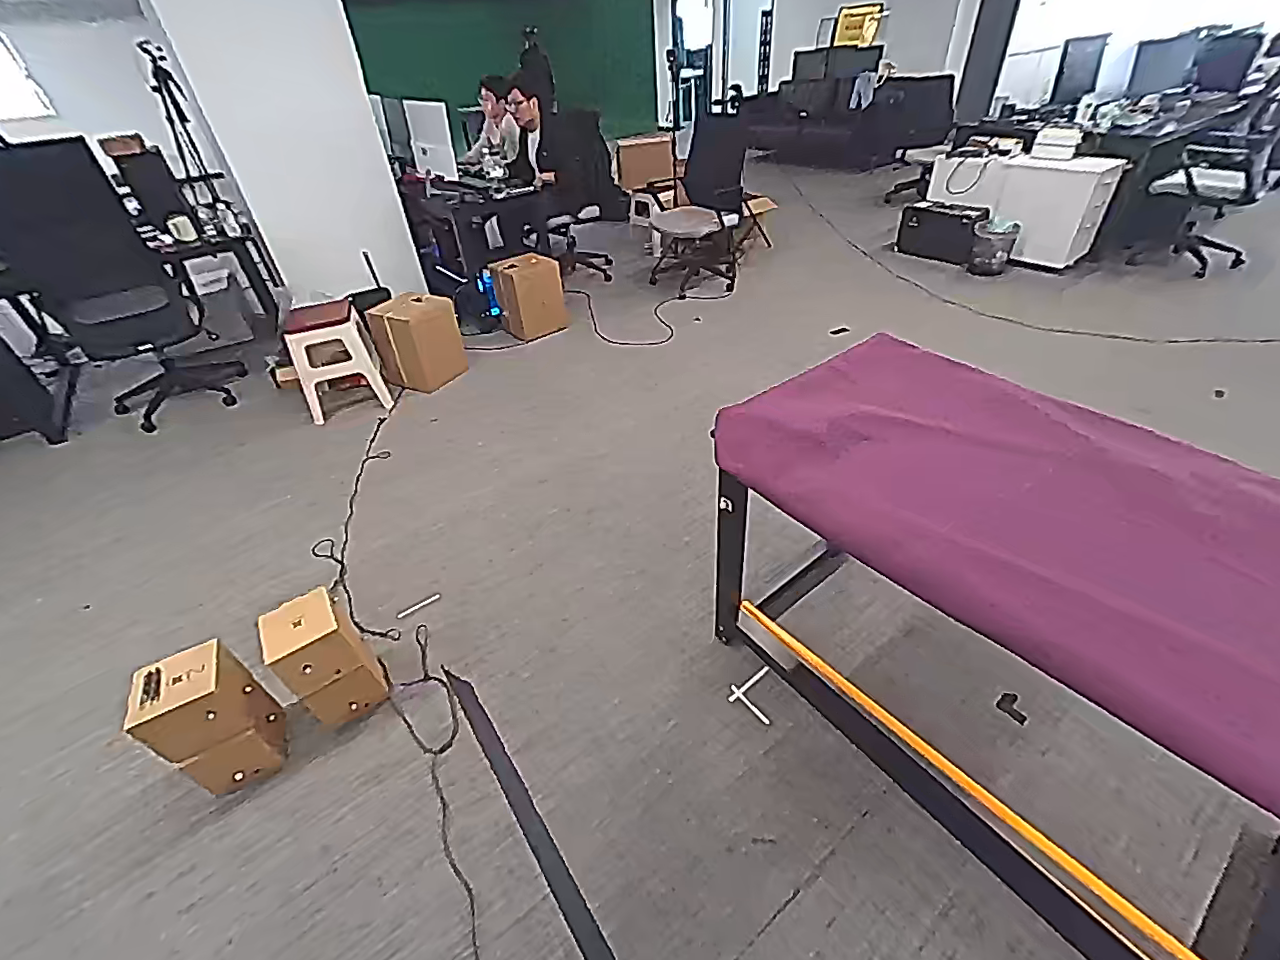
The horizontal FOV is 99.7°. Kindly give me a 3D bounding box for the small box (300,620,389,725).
[{"bbox_3d":[-0.822,0.532,1.494,0.168,0.176,0.179,-28,45,-23],"label":"small box"}]

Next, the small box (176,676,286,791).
[{"bbox_3d":[-1.033,0.647,1.380,0.168,0.176,0.179,-23,43,-20],"label":"small box"}]

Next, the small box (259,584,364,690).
[{"bbox_3d":[-0.838,0.409,1.389,0.168,0.176,0.179,-28,44,-23],"label":"small box"}]
